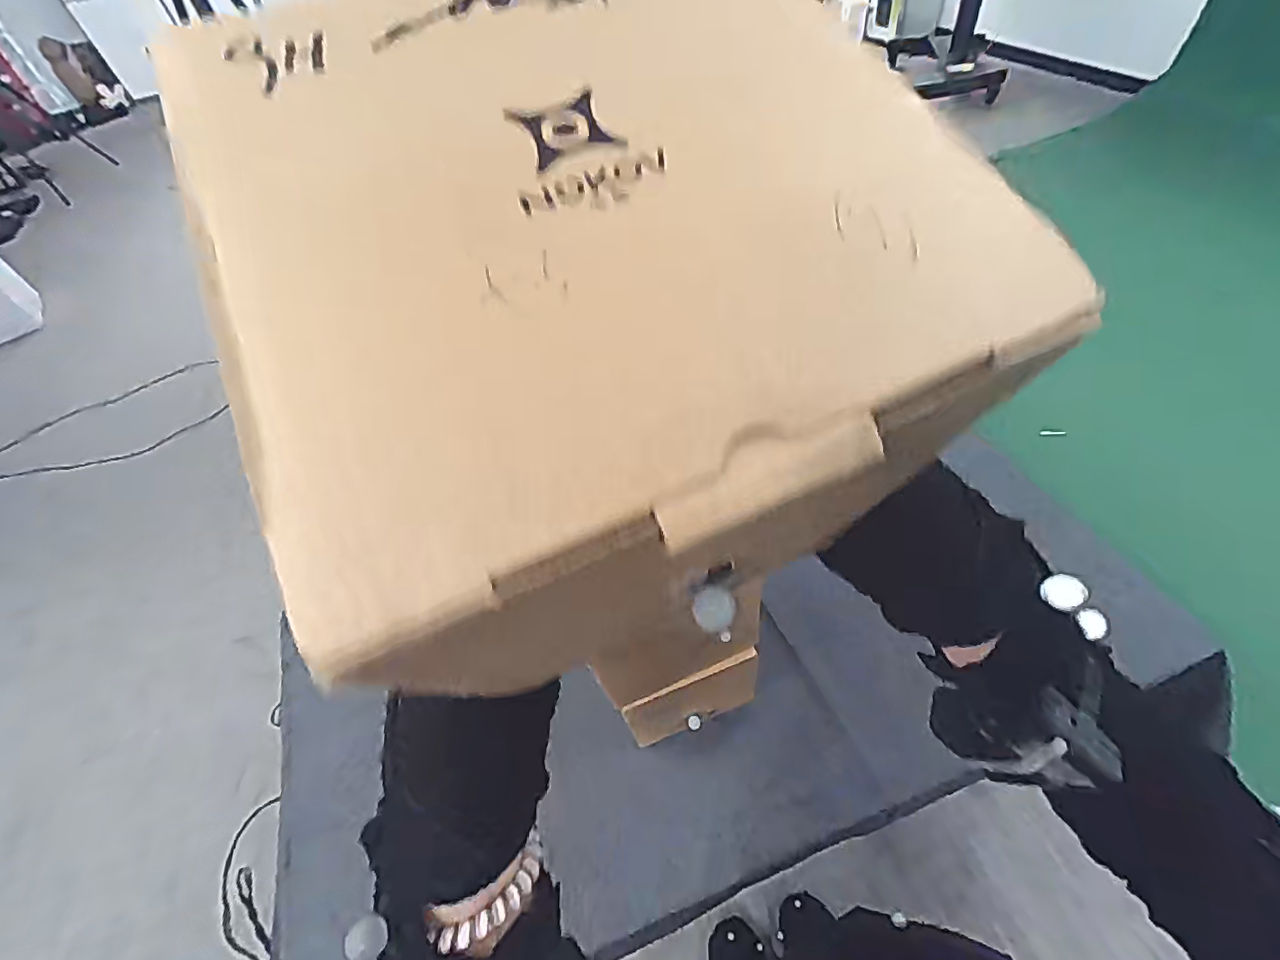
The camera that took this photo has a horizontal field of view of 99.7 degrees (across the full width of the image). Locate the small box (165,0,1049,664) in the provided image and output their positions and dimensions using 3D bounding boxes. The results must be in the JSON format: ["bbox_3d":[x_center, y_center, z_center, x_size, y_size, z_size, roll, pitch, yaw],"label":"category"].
[{"bbox_3d":[-0.019,-0.045,0.205,0.168,0.176,0.179,-23,70,-11],"label":"small box"}]

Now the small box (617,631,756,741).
[{"bbox_3d":[0.036,0.208,0.706,0.168,0.176,0.179,-20,51,-6],"label":"small box"}]

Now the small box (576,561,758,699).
[{"bbox_3d":[0.009,0.105,0.582,0.179,0.176,0.168,-22,50,-8],"label":"small box"}]
